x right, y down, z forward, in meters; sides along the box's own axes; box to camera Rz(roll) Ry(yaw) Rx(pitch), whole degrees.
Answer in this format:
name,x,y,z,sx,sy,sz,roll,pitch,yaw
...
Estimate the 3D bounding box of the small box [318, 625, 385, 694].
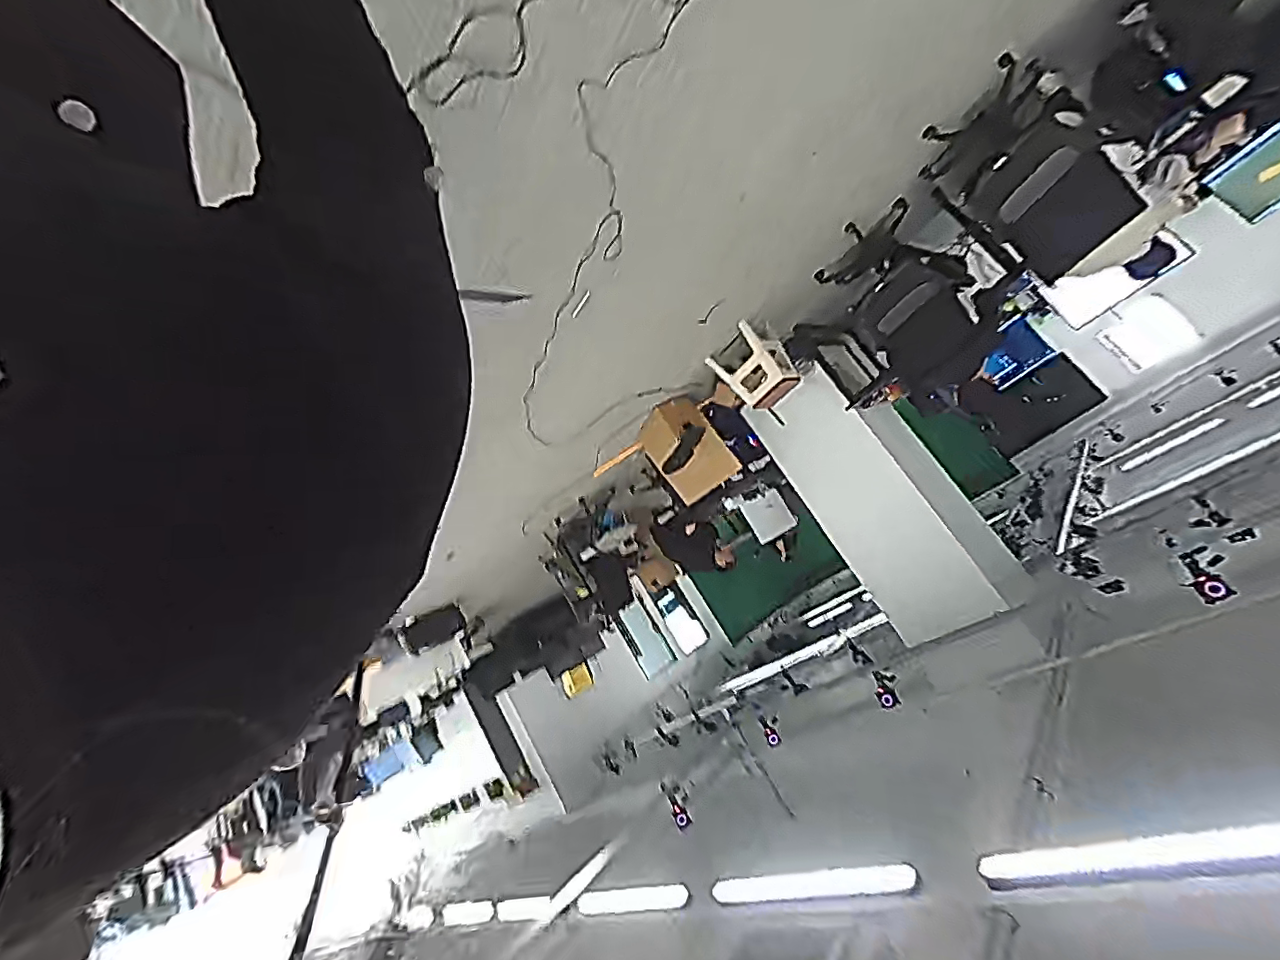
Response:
name,x,y,z,sx,sy,sz,roll,pitch,yaw
small box,-1.080,0.663,2.014,0.168,0.176,0.179,-17,160,-43
